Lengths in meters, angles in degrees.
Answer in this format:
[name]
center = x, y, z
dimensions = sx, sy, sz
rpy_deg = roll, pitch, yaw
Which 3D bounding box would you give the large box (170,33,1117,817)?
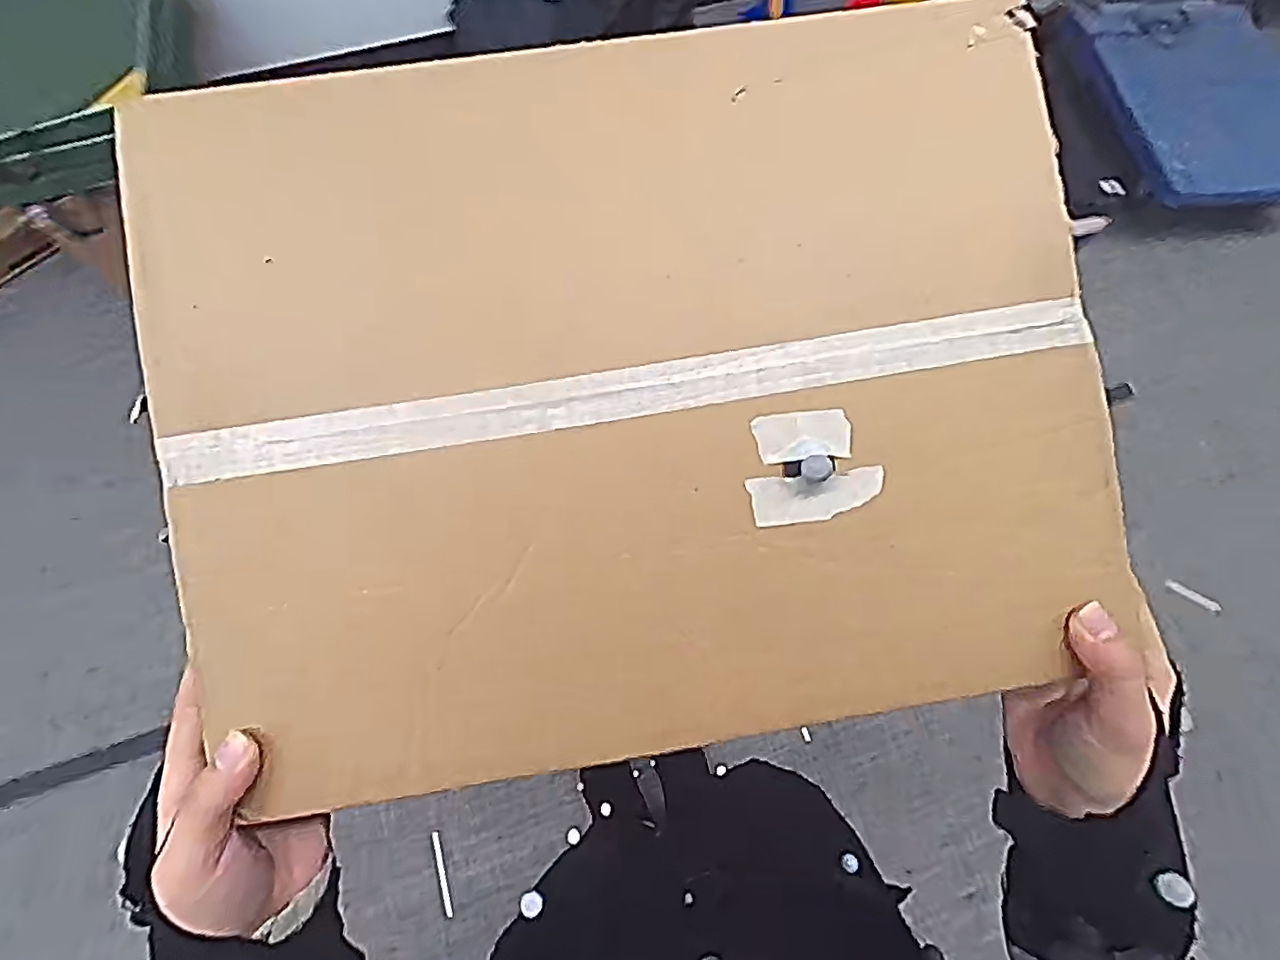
[large box]
center = -0.002, -0.029, 0.396
dimensions = 0.408, 0.320, 0.320
rpy_deg = -9, 89, -3
